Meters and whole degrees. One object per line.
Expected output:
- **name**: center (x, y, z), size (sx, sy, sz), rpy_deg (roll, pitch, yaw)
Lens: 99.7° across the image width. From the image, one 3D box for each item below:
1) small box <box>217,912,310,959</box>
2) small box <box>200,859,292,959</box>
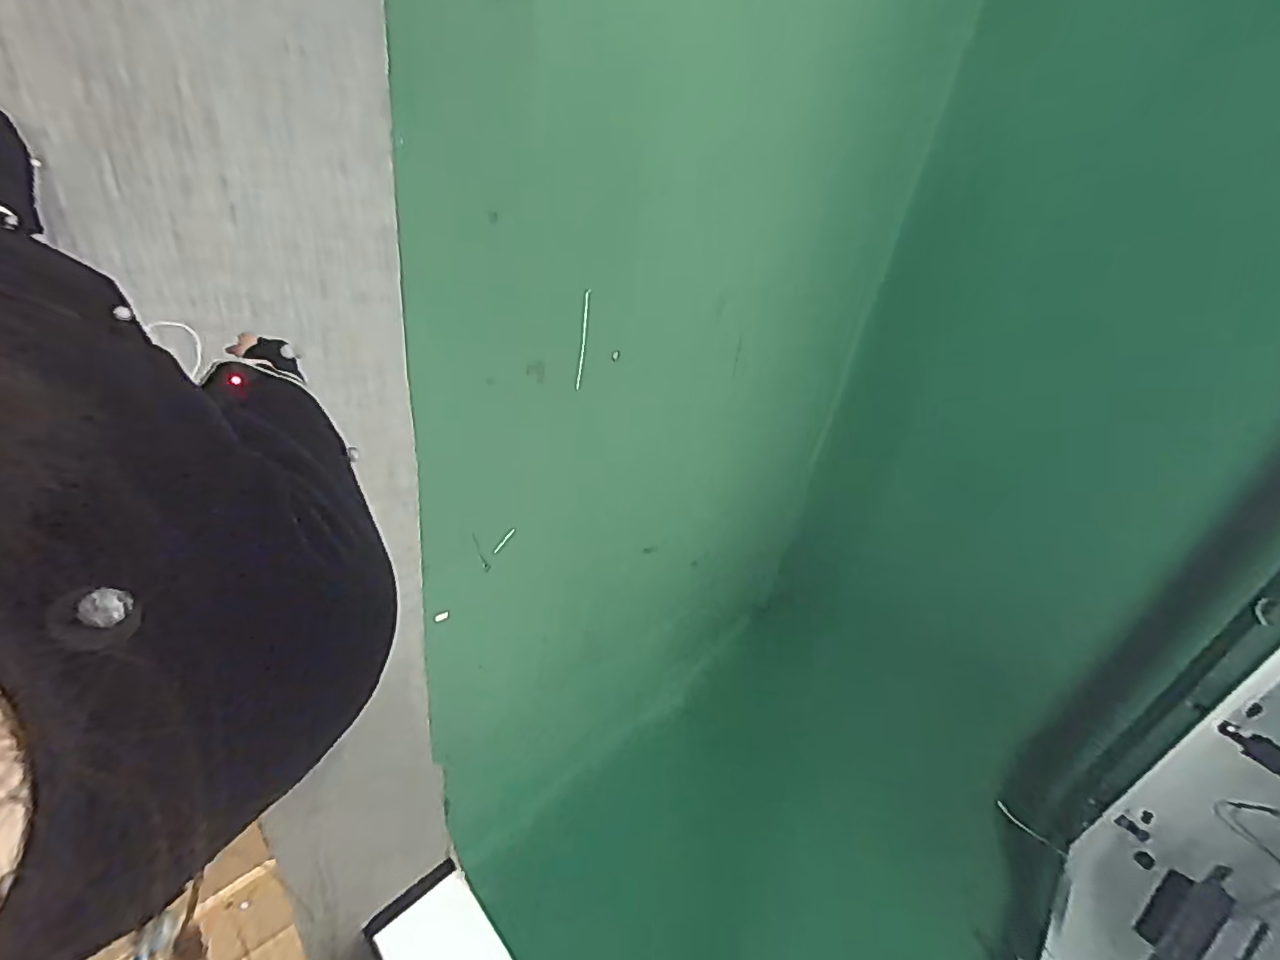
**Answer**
- **small box**: center (-0.907, 1.216, 1.319), size (0.168, 0.176, 0.179), rpy_deg (-20, 131, -40)
- **small box**: center (-1.020, 1.151, 1.416), size (0.168, 0.176, 0.179), rpy_deg (-19, 130, -41)
